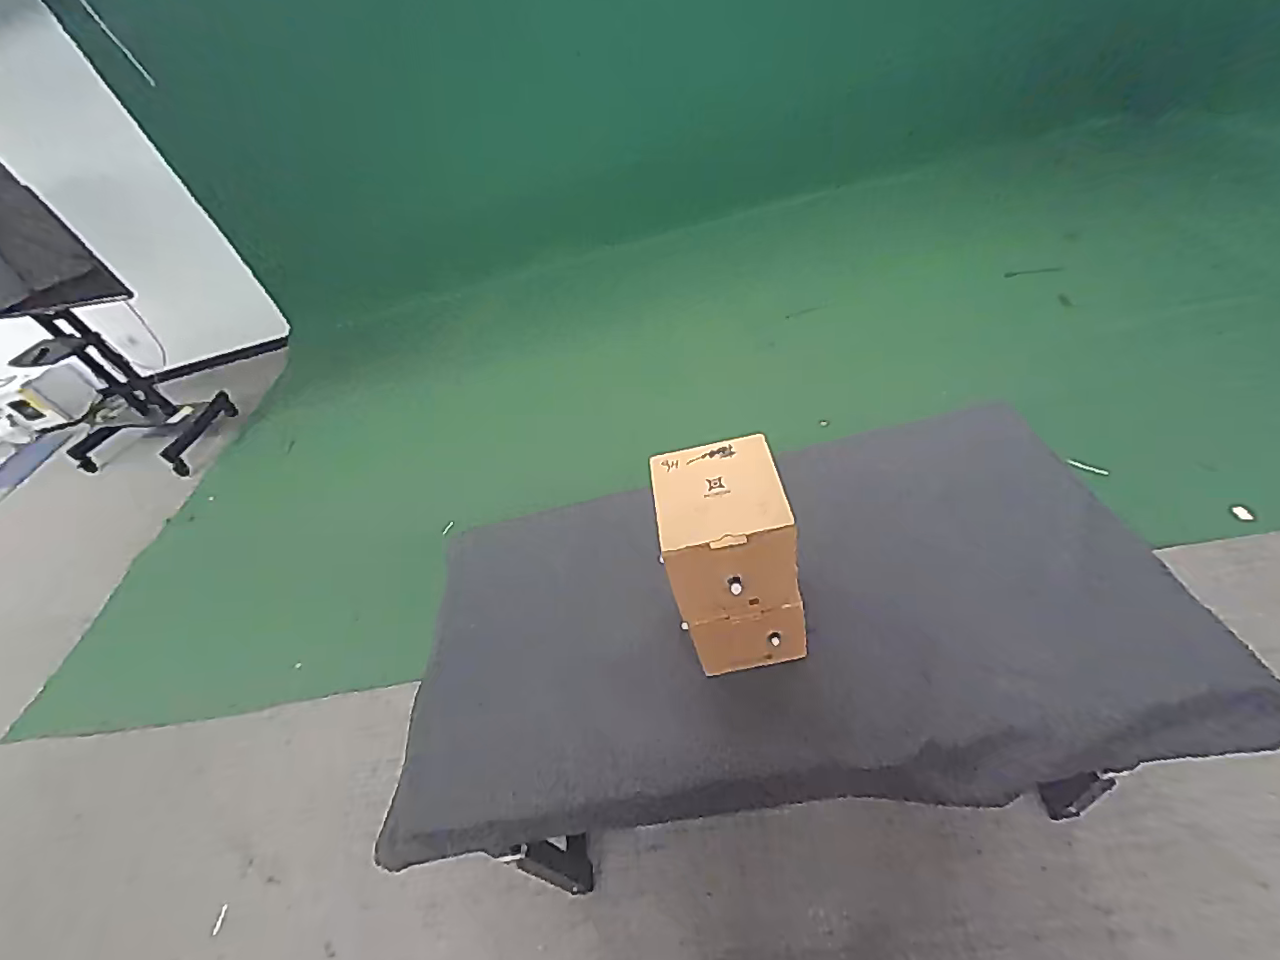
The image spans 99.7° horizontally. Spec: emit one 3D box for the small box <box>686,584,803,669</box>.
[{"bbox_3d":[0.160,0.186,0.873,0.168,0.176,0.179,-13,43,5],"label":"small box"}]

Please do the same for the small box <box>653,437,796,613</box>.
[{"bbox_3d":[0.119,0.071,0.763,0.168,0.176,0.179,-11,45,6],"label":"small box"}]
